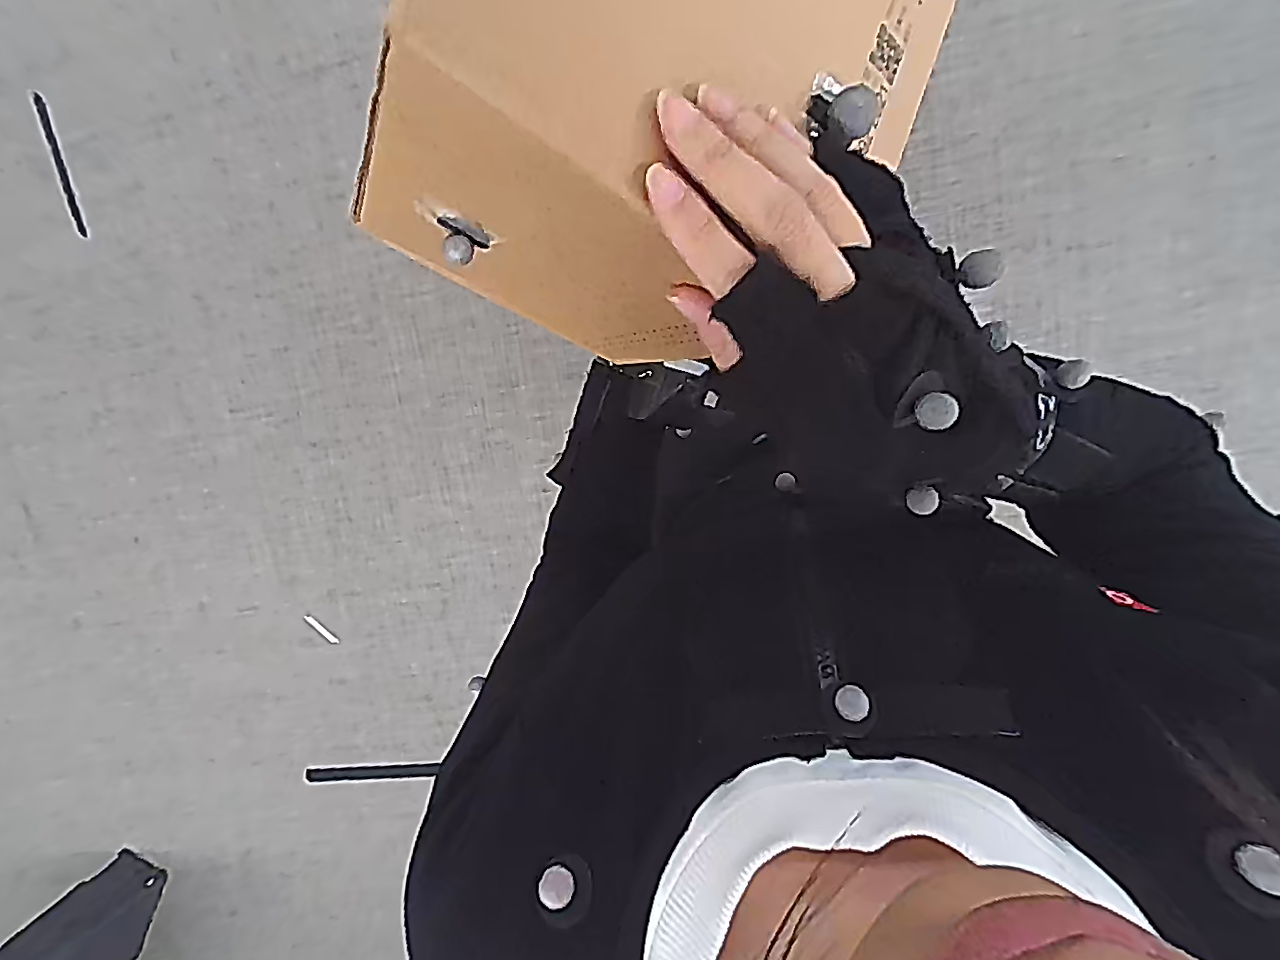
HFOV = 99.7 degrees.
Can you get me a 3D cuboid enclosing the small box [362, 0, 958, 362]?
[{"bbox_3d":[-0.004,-0.162,0.244,0.176,0.179,0.168,20,89,-32],"label":"small box"}]
